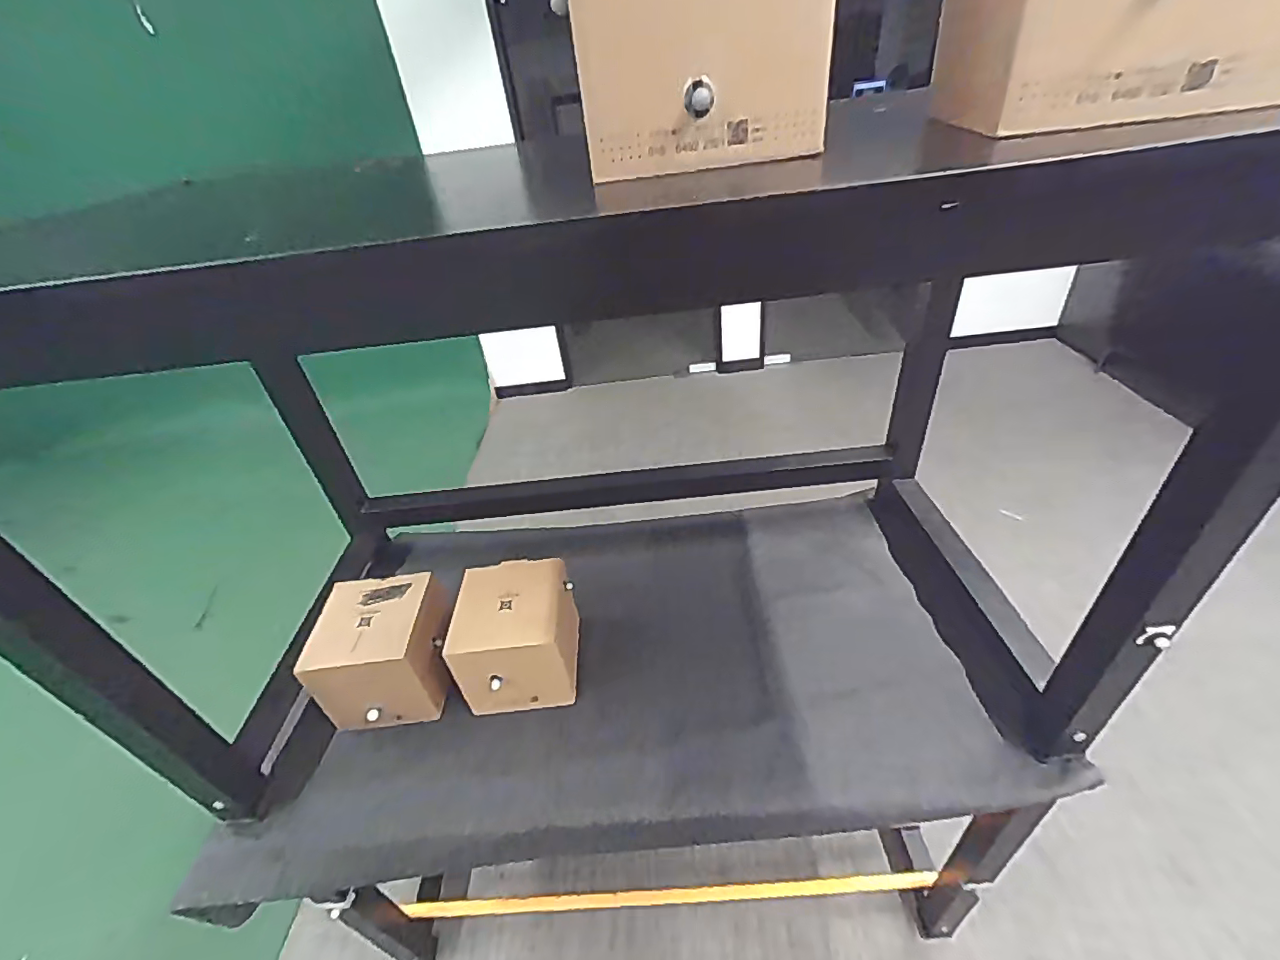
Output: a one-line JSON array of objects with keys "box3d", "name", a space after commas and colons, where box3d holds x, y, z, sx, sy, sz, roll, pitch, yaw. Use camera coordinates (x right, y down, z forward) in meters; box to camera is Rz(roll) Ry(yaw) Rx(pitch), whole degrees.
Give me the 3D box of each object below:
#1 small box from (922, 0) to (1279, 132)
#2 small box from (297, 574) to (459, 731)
[{"box3d": [0.303, -0.337, 0.352, 0.168, 0.176, 0.179, 0, 36, 11], "name": "small box"}, {"box3d": [-0.414, 0.283, 0.895, 0.168, 0.176, 0.179, -7, 36, 1], "name": "small box"}]
